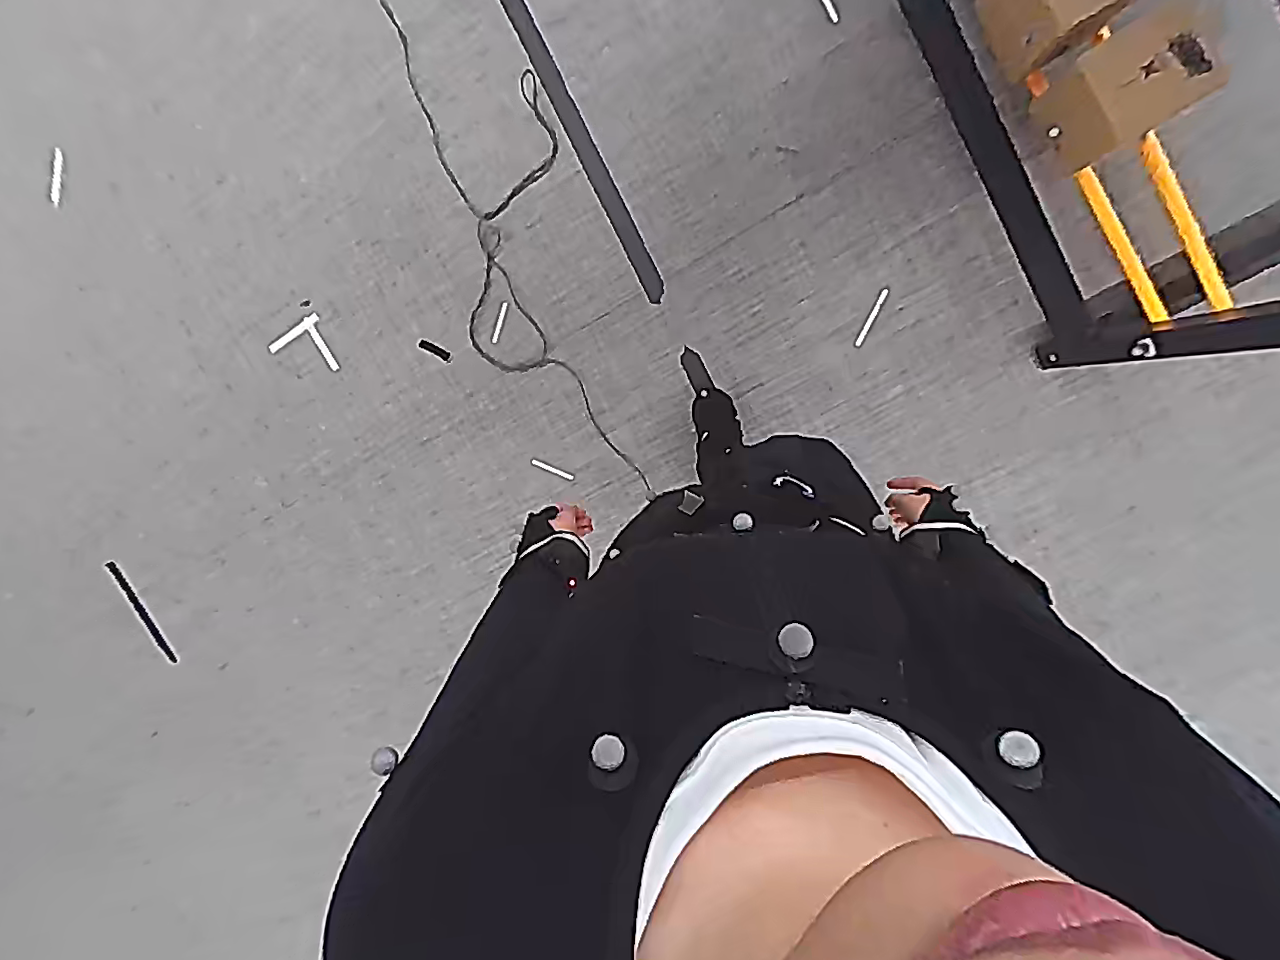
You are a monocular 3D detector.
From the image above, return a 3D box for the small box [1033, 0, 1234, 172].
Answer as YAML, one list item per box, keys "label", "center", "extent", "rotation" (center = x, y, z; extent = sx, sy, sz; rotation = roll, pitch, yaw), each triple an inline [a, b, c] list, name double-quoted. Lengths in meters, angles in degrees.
- label: "small box"
  center: [0.861, -0.697, 0.963]
  extent: [0.179, 0.176, 0.168]
  rotation: [-29, 93, 14]
